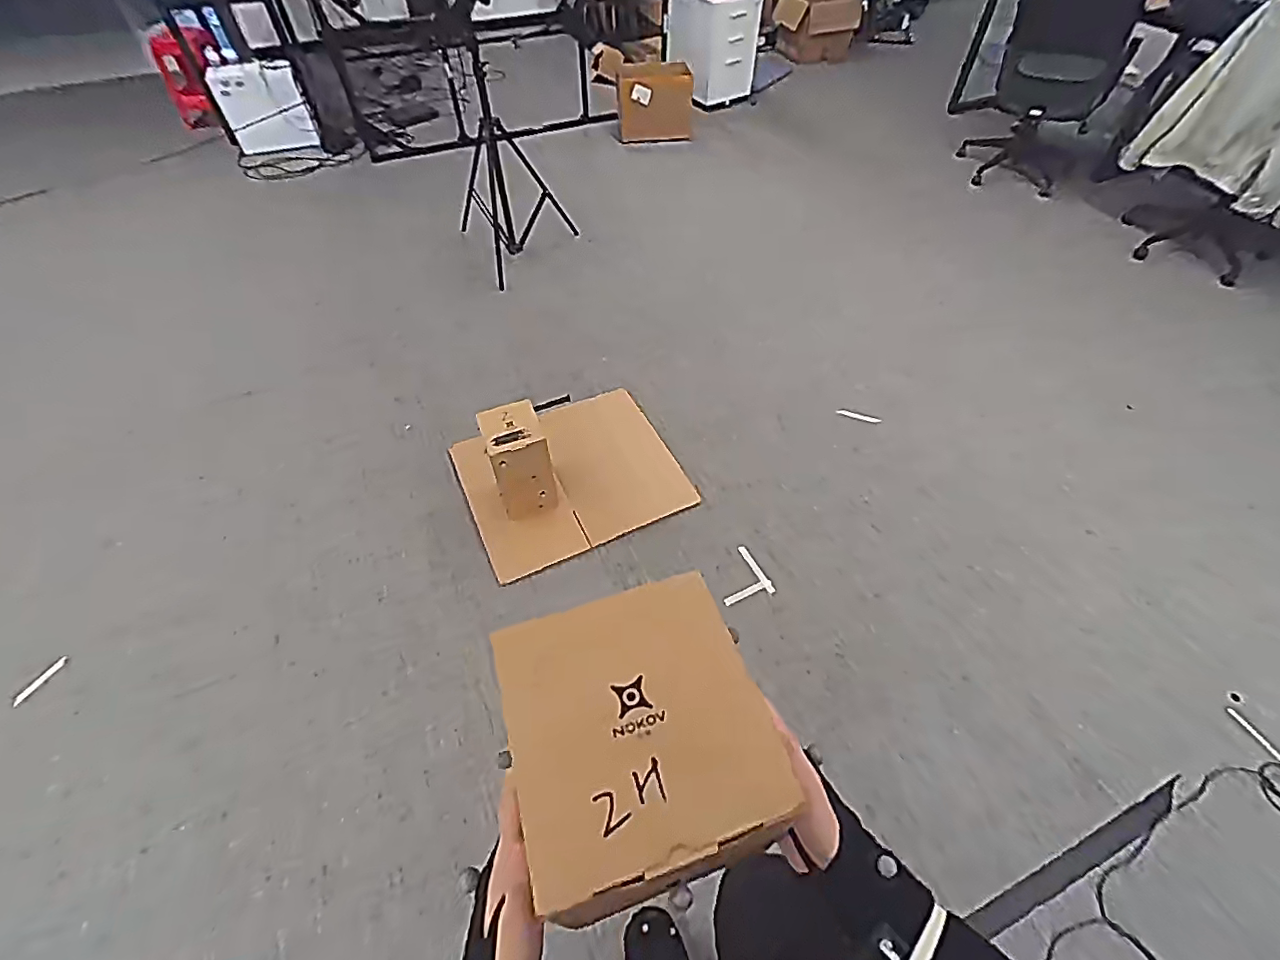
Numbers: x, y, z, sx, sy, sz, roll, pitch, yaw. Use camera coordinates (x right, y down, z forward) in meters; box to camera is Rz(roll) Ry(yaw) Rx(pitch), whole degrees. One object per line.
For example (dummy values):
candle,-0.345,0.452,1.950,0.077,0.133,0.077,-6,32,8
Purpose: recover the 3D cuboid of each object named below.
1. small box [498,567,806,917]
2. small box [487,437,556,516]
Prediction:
small box,-0.002,0.200,0.418,0.168,0.176,0.179,-15,50,-11
small box,-0.376,-0.005,1.737,0.168,0.176,0.179,-17,54,-15
